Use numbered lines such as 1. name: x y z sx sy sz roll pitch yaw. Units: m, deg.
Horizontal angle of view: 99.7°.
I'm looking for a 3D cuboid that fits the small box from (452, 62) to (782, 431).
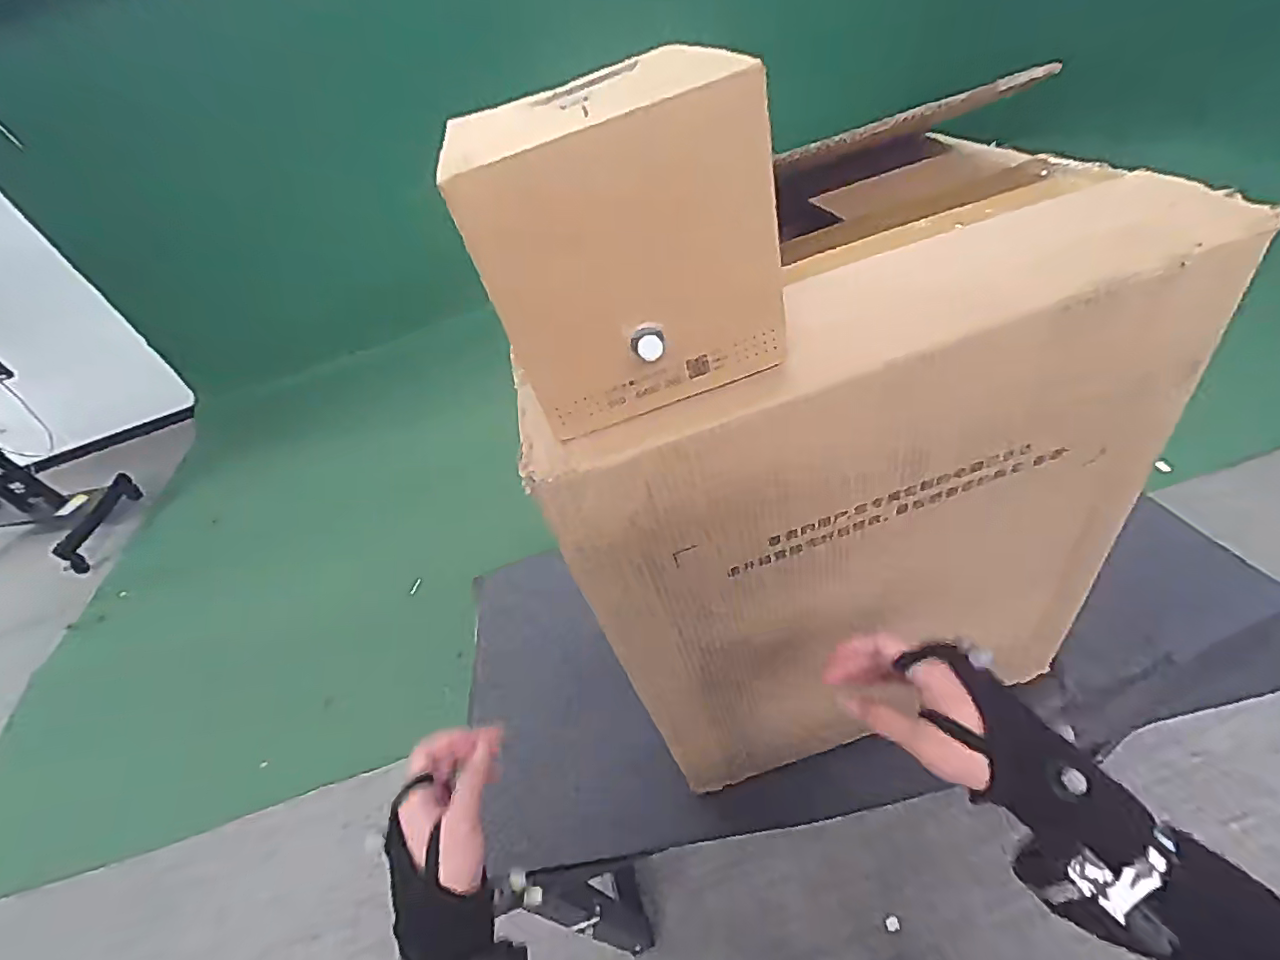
1. small box: -0.013 -0.164 0.382 0.168 0.176 0.179 -20 42 1
